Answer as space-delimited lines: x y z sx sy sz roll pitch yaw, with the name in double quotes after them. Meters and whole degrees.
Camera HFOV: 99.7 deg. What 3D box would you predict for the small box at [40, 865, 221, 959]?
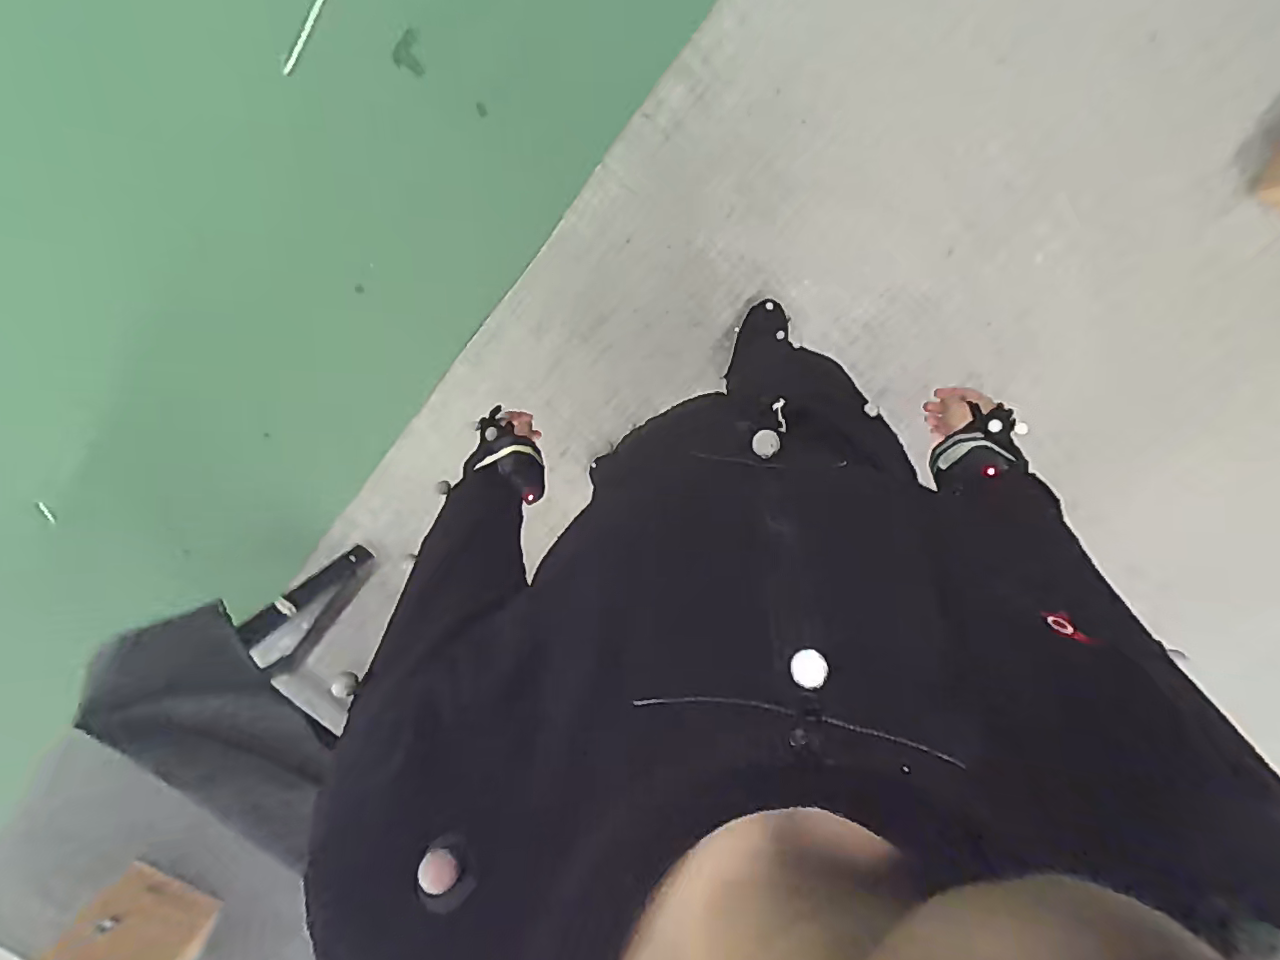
-0.820 0.767 0.859 0.168 0.176 0.179 31 109 -2 "small box"
